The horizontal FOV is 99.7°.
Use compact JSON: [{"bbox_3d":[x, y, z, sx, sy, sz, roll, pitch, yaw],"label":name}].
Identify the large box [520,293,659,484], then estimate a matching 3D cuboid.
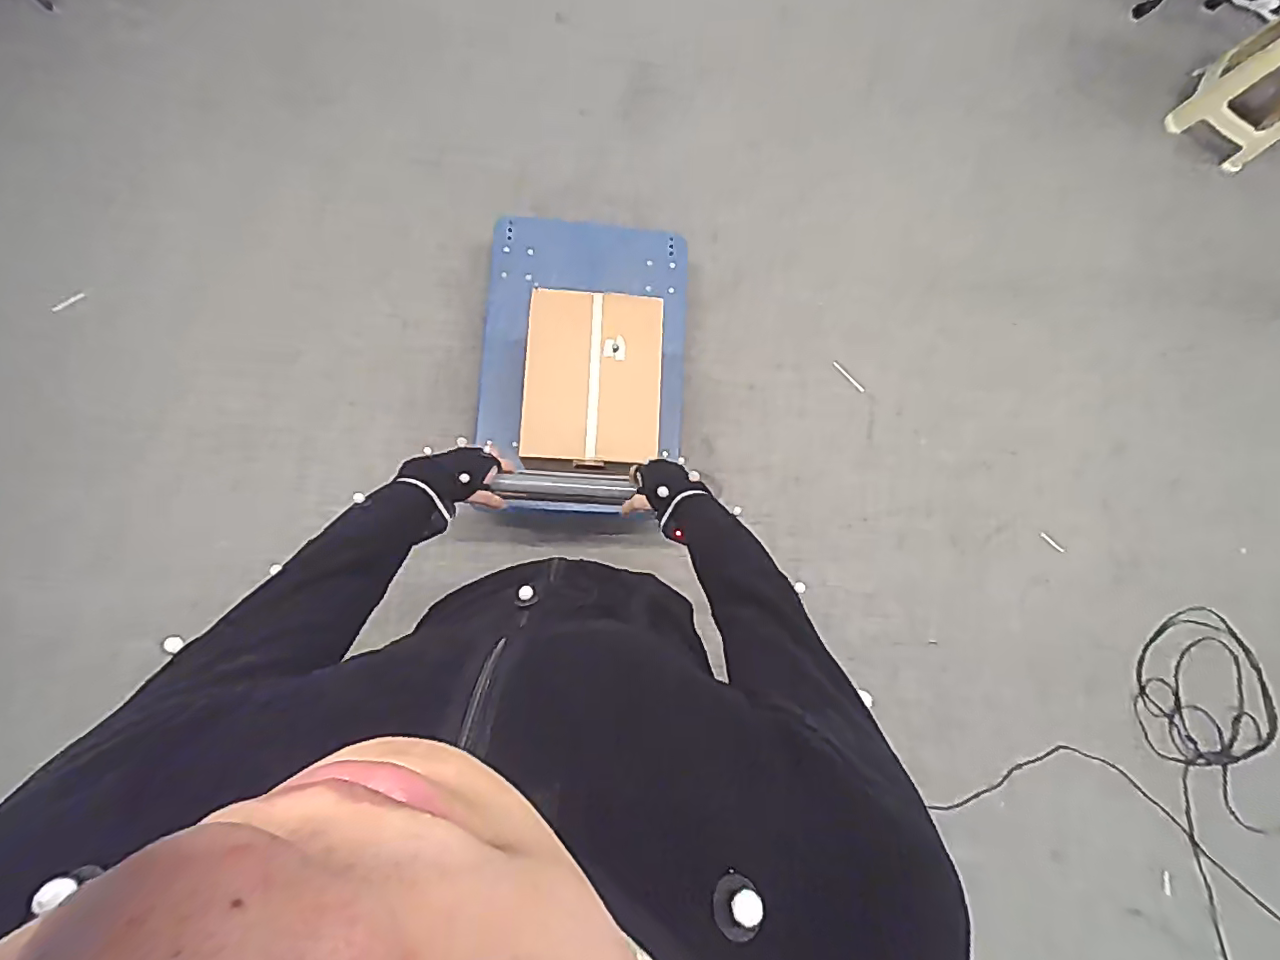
[{"bbox_3d":[-0.125,-0.211,1.387,0.320,0.320,0.408,3,80,-6],"label":"large box"}]
